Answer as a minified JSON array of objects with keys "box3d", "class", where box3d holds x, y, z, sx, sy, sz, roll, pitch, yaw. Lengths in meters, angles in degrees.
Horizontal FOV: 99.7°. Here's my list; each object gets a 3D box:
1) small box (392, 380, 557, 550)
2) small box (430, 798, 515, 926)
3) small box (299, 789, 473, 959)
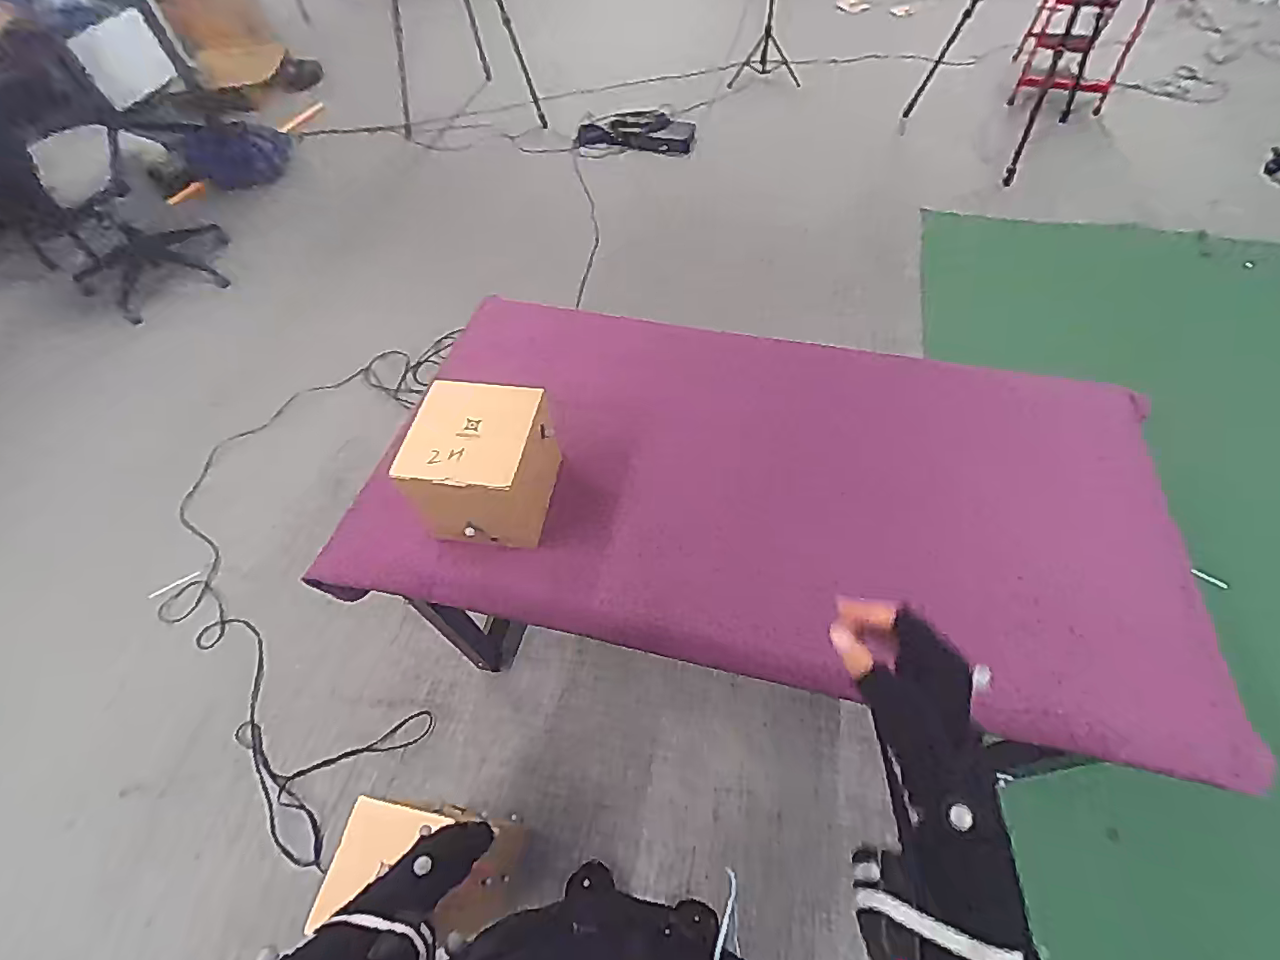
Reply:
[{"box3d":[-0.227,-0.020,0.801,0.168,0.176,0.179,7,56,6],"class":"small box"},{"box3d":[-0.378,0.793,1.136,0.168,0.176,0.179,12,59,10],"class":"small box"},{"box3d":[-0.384,0.613,0.862,0.168,0.176,0.179,9,60,8],"class":"small box"}]
